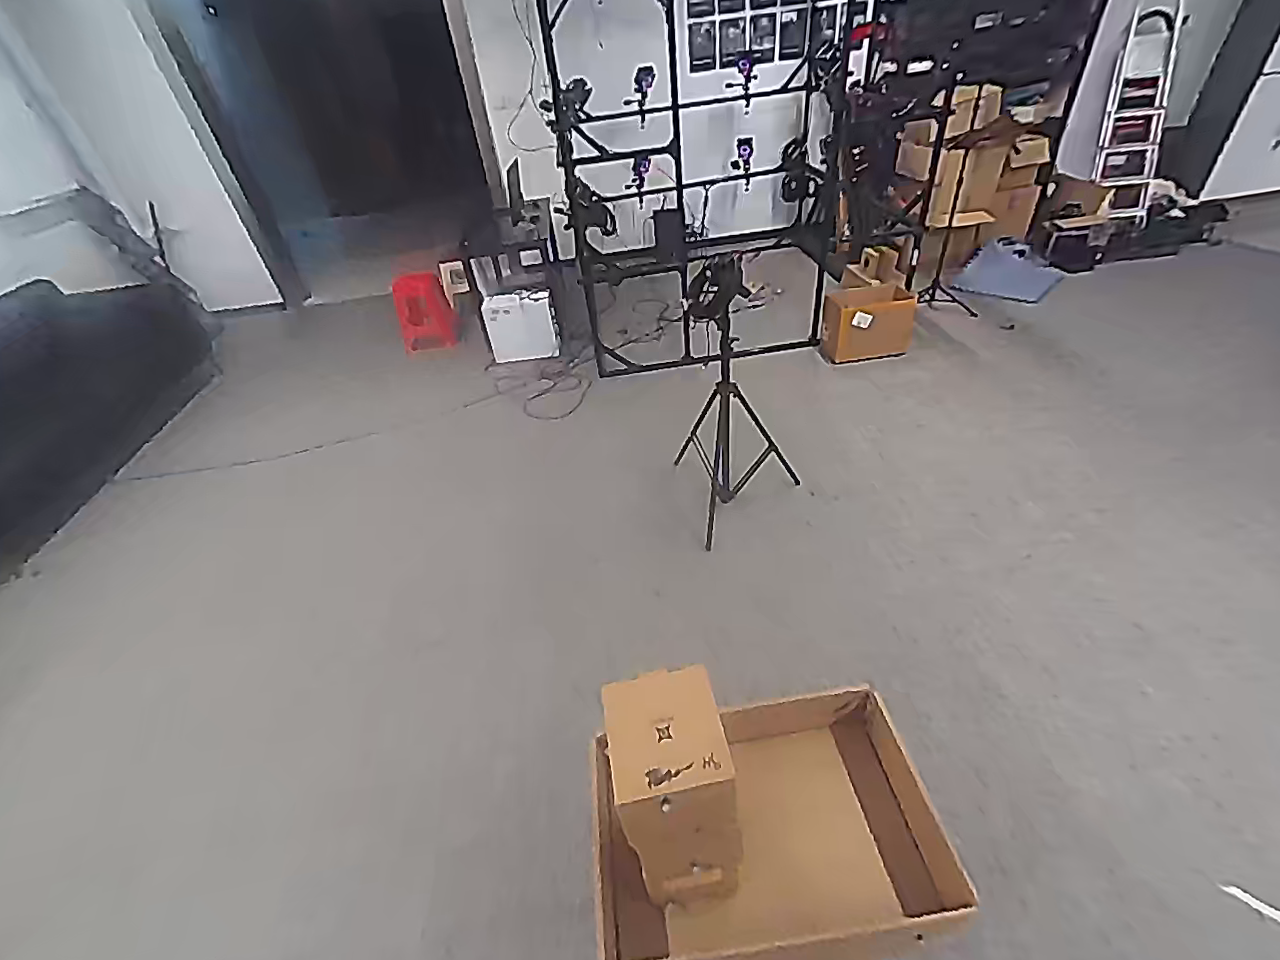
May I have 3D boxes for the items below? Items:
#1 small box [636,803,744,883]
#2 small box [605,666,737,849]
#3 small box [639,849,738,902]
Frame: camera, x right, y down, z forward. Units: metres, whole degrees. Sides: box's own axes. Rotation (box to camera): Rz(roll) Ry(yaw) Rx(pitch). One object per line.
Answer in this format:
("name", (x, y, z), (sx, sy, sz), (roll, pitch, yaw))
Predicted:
("small box", (0.072, 0.543, 0.918), (0.168, 0.176, 0.179), (-11, 39, -2))
("small box", (0.045, 0.416, 0.816), (0.168, 0.176, 0.179), (-11, 37, -2))
("small box", (0.086, 0.669, 1.024), (0.168, 0.176, 0.179), (-10, 37, -1))
